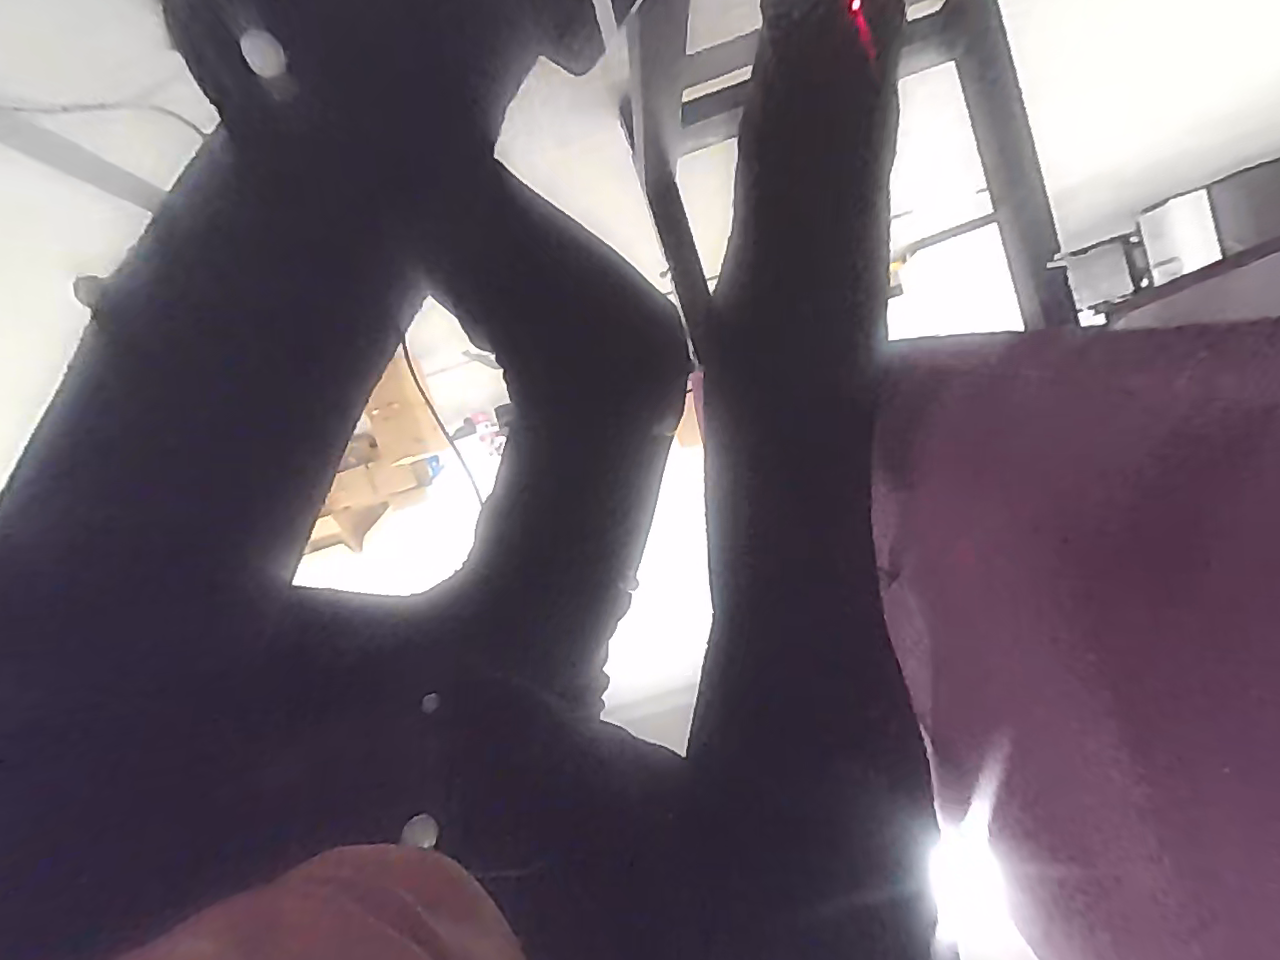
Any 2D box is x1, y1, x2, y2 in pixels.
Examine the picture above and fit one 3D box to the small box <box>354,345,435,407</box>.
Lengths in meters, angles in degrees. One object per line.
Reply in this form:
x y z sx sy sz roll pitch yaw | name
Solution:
-0.836 -0.355 1.849 0.168 0.176 0.179 -17 -175 6 | small box
